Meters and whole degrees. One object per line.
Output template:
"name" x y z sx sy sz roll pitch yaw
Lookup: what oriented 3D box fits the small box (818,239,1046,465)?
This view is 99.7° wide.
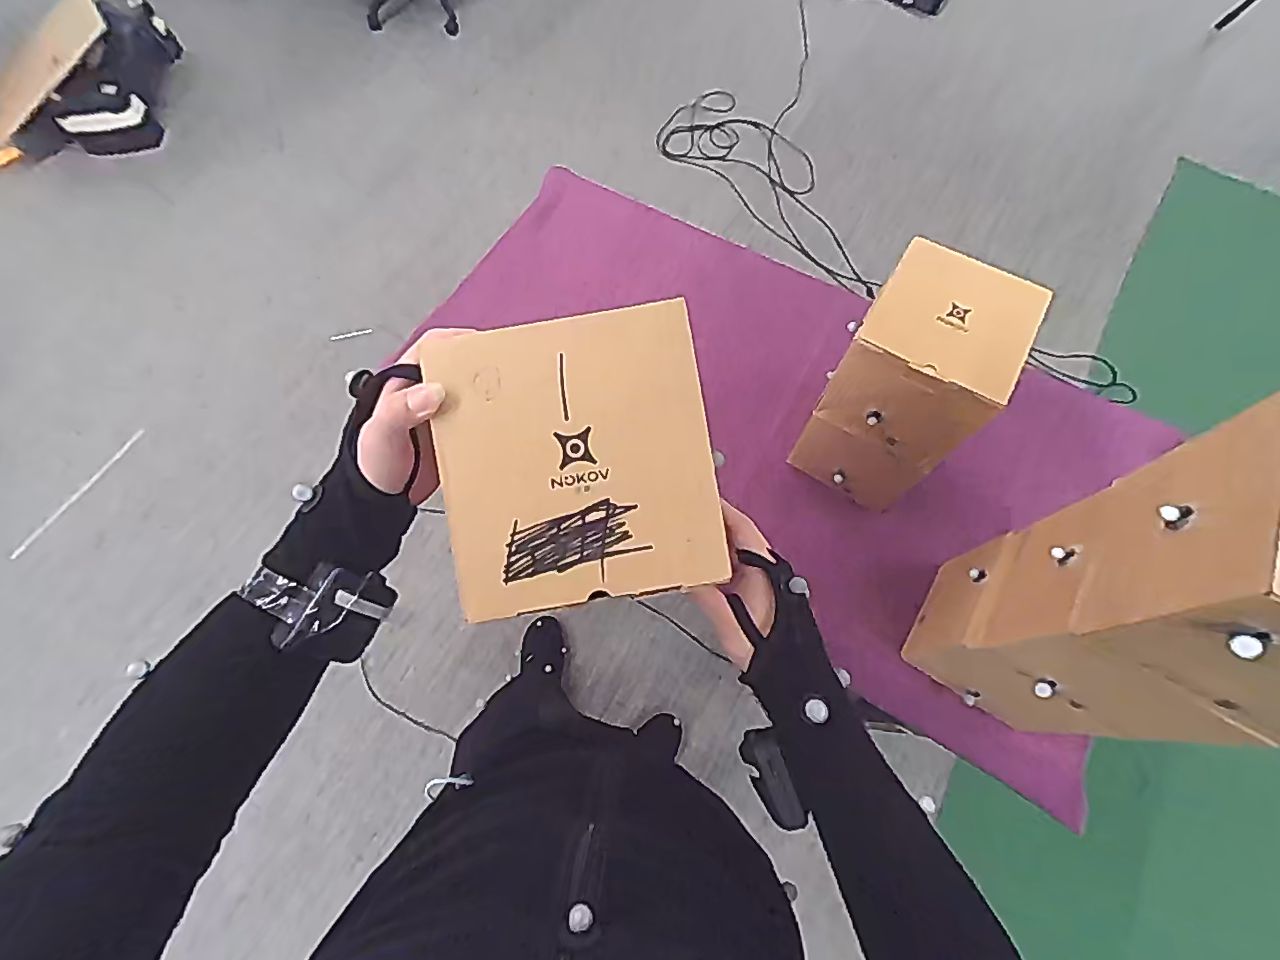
"small box" 0.347 -0.151 0.675 0.168 0.176 0.179 30 72 11

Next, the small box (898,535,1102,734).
"small box" 0.481 0.202 0.707 0.179 0.176 0.168 32 71 13

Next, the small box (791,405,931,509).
"small box" 0.353 -0.086 0.824 0.168 0.176 0.179 33 72 13

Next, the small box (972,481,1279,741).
"small box" 0.485 0.138 0.556 0.168 0.176 0.179 32 71 14
